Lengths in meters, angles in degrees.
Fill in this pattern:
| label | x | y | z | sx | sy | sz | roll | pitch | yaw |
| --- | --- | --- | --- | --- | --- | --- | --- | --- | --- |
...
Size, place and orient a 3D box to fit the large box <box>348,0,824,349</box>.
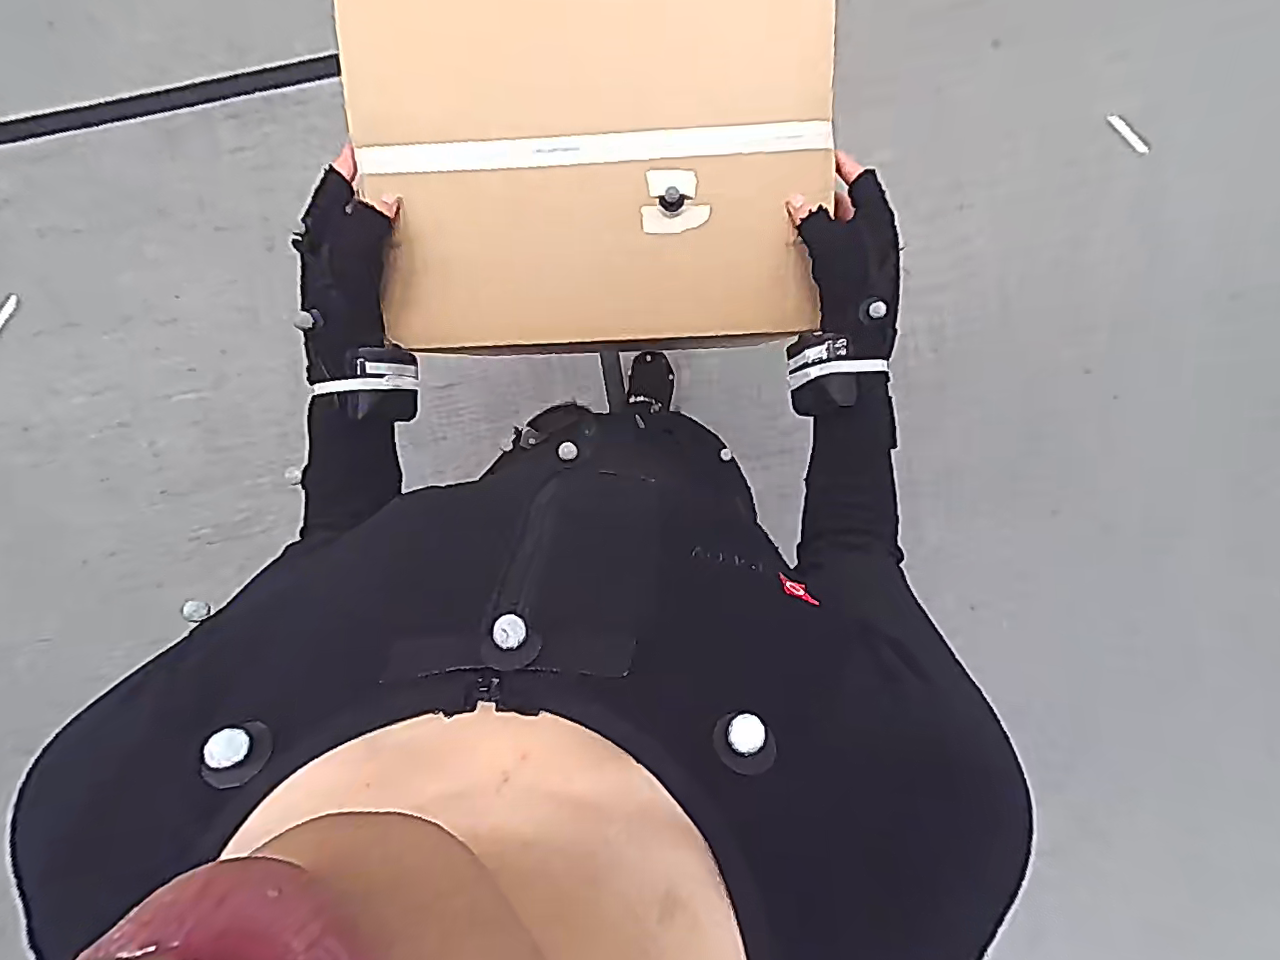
| label | x | y | z | sx | sy | sz | roll | pitch | yaw |
| --- | --- | --- | --- | --- | --- | --- | --- | --- | --- |
| large box | -0.040 | -0.326 | 0.615 | 0.408 | 0.320 | 0.320 | -3 | 102 | 1 |
